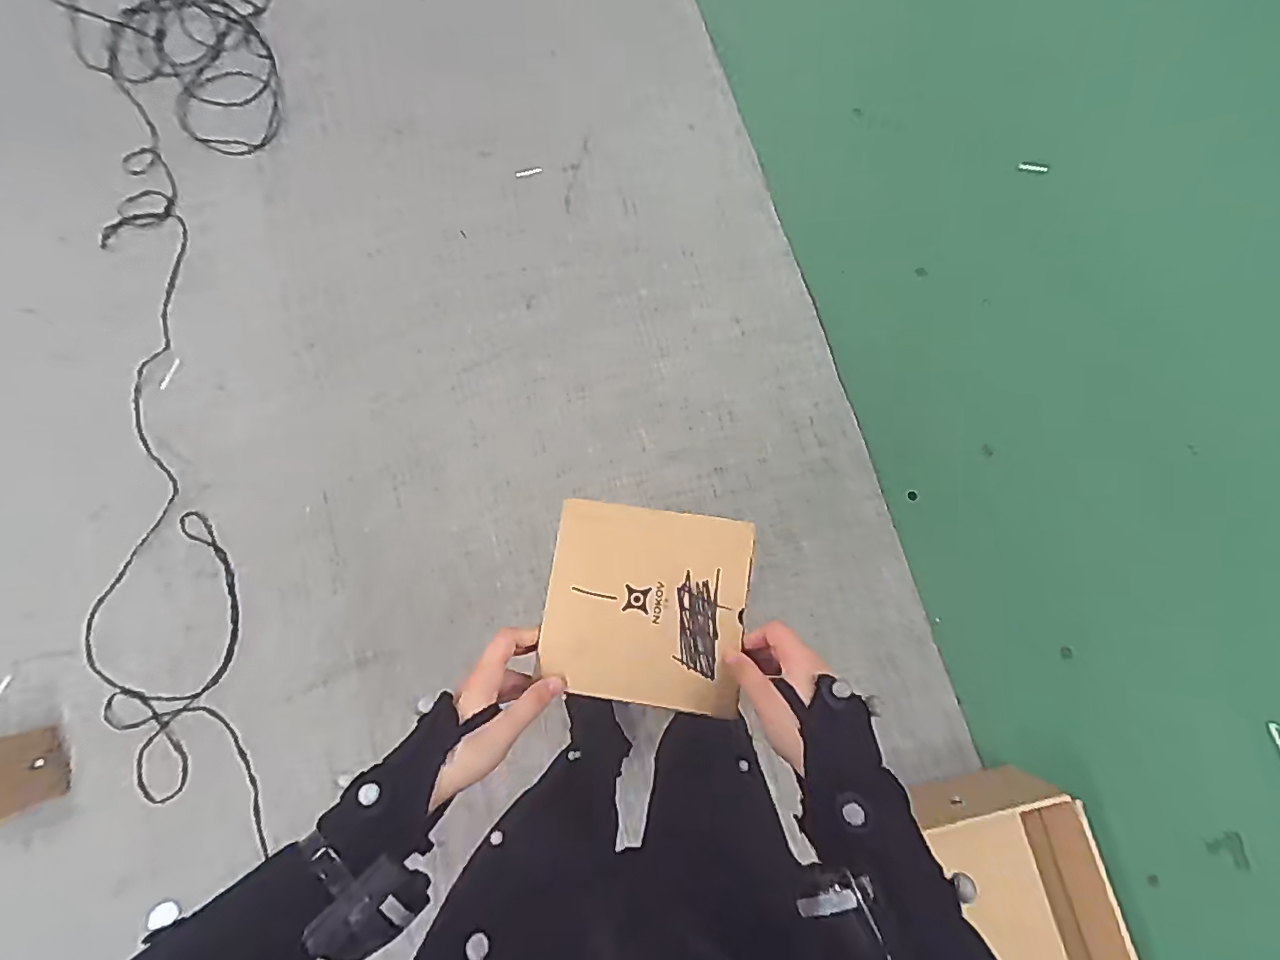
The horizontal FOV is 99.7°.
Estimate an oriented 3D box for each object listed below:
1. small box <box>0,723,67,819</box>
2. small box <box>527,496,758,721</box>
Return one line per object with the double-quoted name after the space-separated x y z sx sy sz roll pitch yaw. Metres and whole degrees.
-1.448 0.668 1.192 0.179 0.176 0.168 -25 81 -3 "small box"
0.007 0.119 0.532 0.179 0.176 0.168 8 79 5 "small box"
